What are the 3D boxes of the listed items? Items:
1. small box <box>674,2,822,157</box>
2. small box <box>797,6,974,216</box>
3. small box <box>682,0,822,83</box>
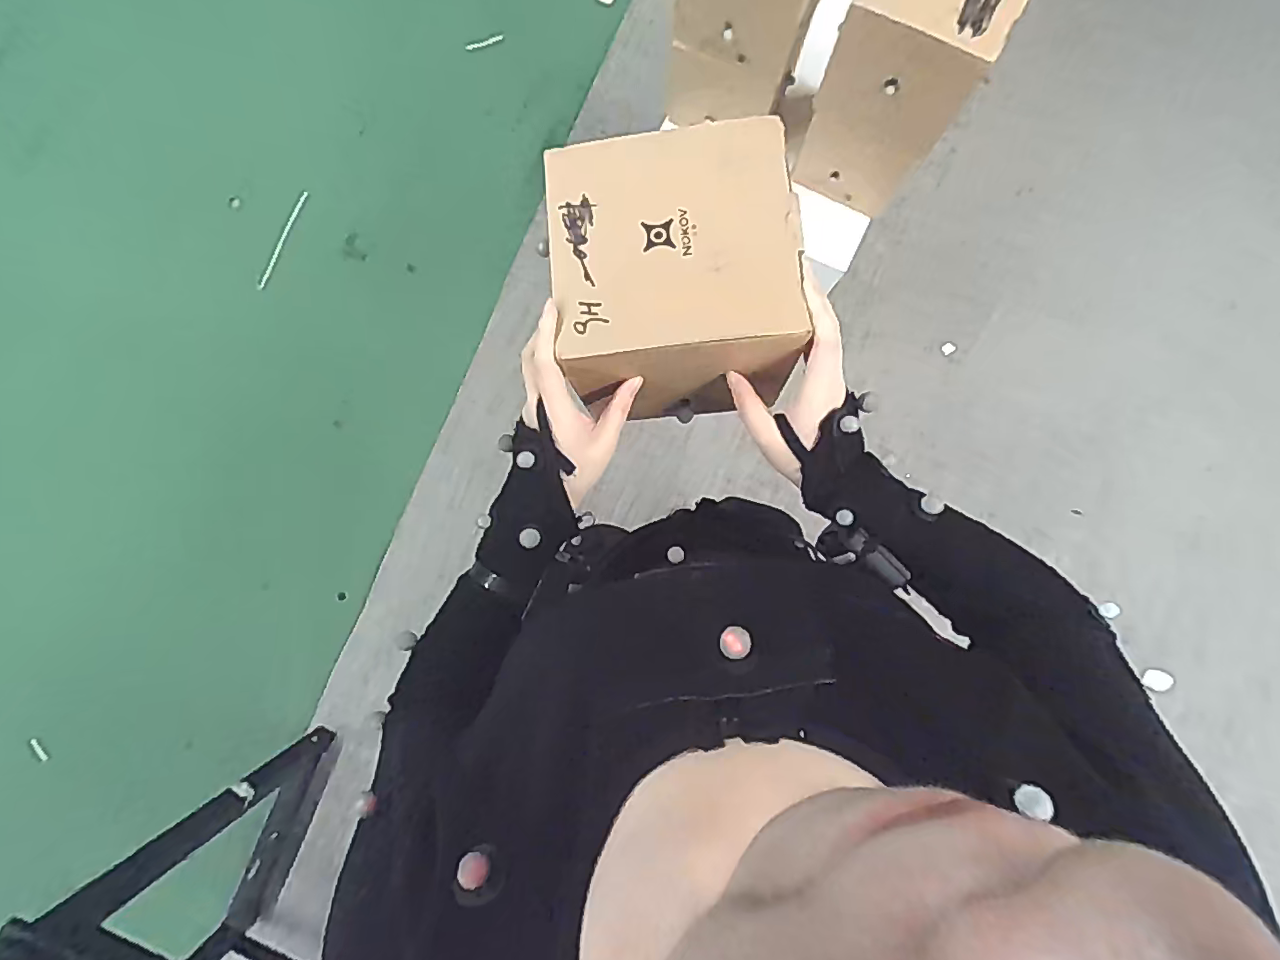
[{"bbox_3d":[0.159,-0.664,0.853,0.168,0.176,0.179,25,90,2],"label":"small box"},{"bbox_3d":[0.365,-0.559,0.843,0.168,0.176,0.179,27,89,4],"label":"small box"},{"bbox_3d":[0.160,-0.672,0.689,0.168,0.176,0.179,26,89,2],"label":"small box"}]
